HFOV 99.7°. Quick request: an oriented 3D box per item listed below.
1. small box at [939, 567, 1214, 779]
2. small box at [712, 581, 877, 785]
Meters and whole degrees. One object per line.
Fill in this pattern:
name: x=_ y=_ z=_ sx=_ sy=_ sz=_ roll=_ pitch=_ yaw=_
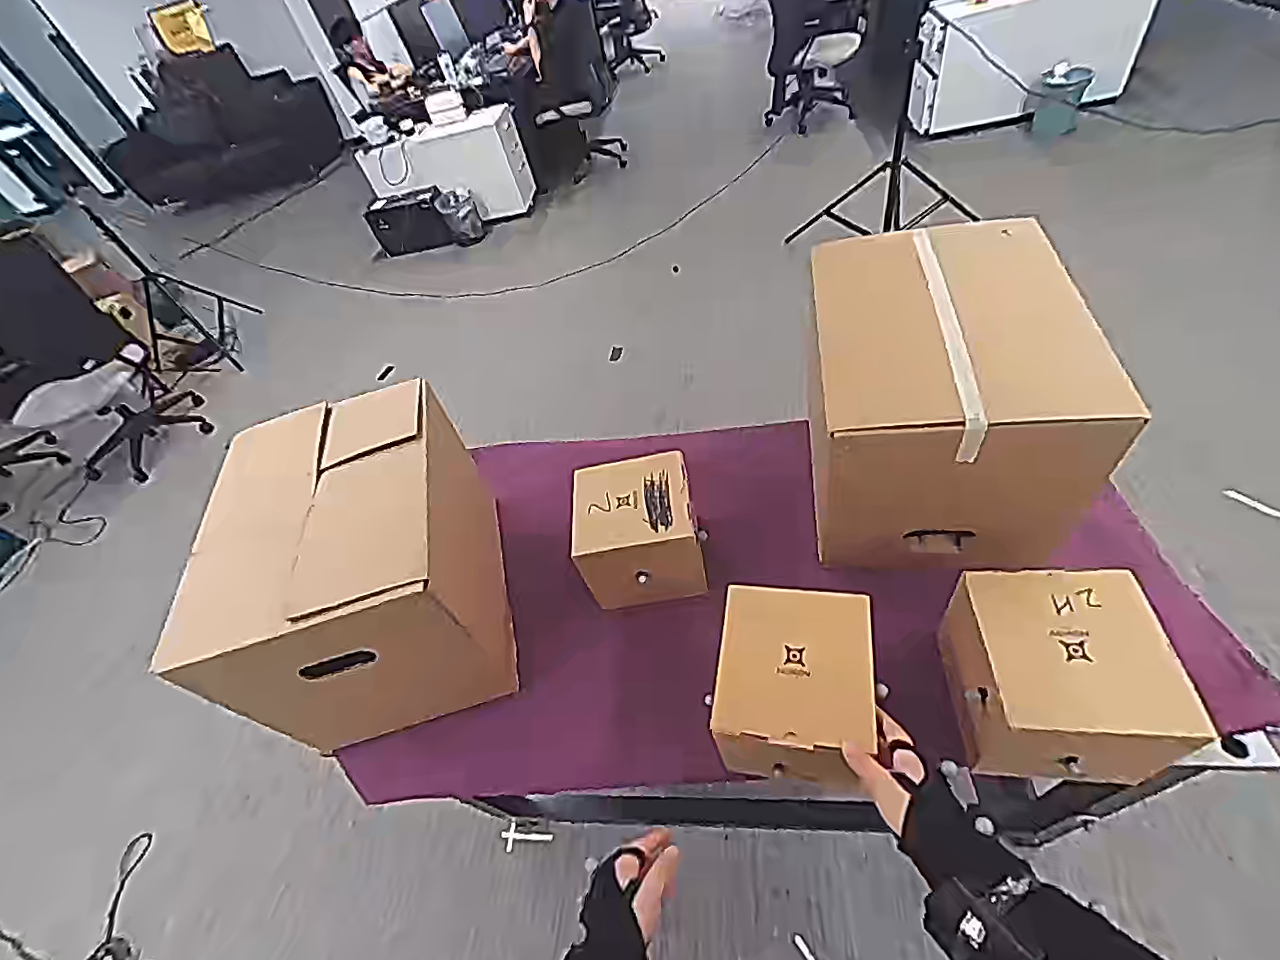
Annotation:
small box: x=0.454 y=0.215 z=0.602 sx=0.168 sy=0.176 sz=0.179 roll=-3 pitch=48 yaw=14
small box: x=0.186 y=0.245 z=0.657 sx=0.168 sy=0.176 sz=0.179 roll=1 pitch=52 yaw=17
